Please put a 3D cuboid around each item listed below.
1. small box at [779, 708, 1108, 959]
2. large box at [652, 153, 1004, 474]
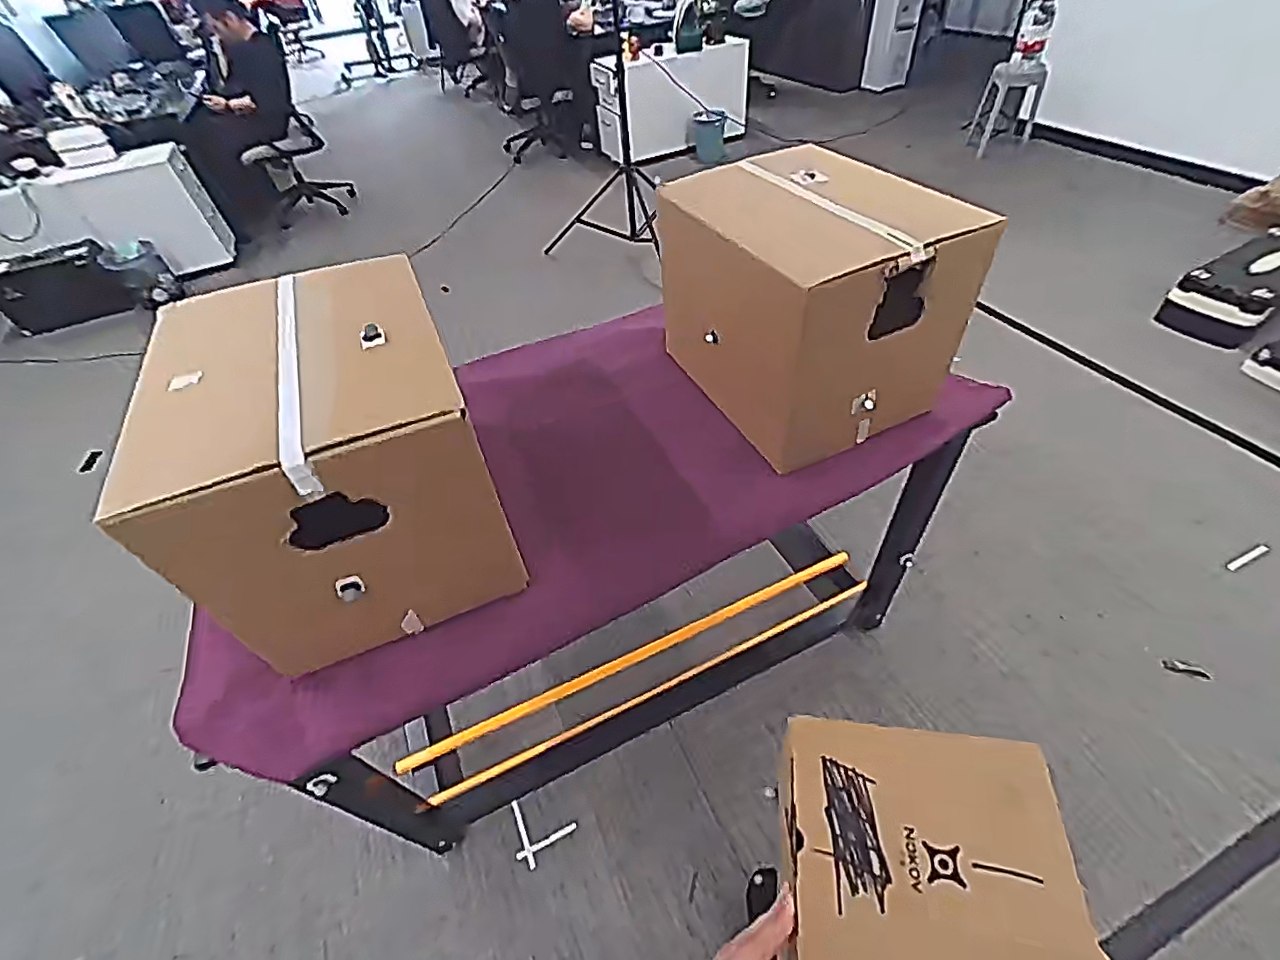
[{"bbox_3d":[0.198,0.291,0.409,0.179,0.176,0.168,2,51,11],"label":"small box"},{"bbox_3d":[0.255,-0.282,0.875,0.320,0.320,0.408,-22,47,-14],"label":"large box"}]
